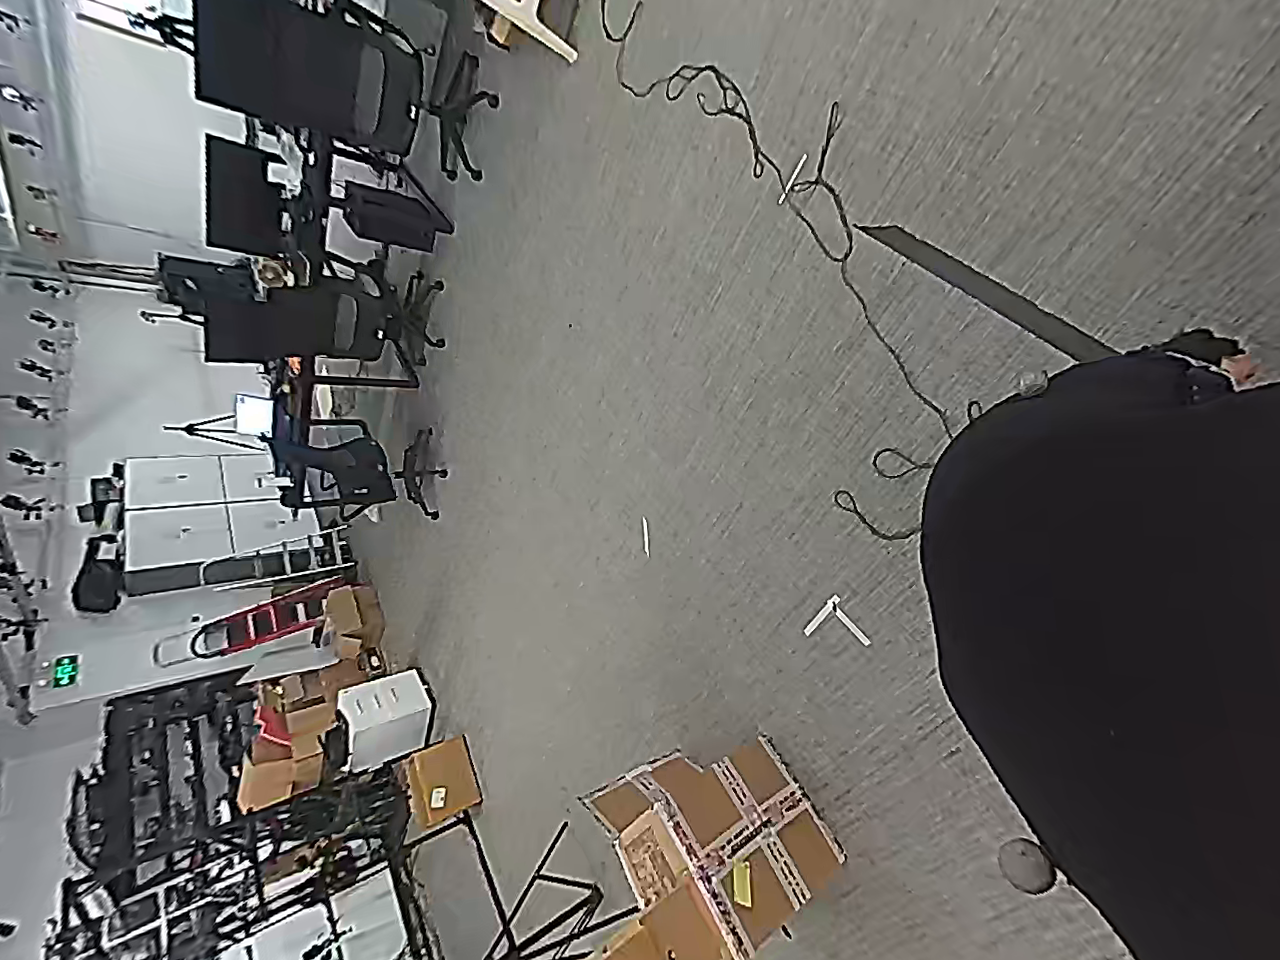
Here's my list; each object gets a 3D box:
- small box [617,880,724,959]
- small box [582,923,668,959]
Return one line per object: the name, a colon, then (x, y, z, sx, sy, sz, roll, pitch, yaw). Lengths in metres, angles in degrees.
small box: (0.078, 1.160, 1.357, 0.179, 0.176, 0.168, 55, 129, 31)
small box: (-0.032, 1.159, 1.236, 0.168, 0.176, 0.179, -52, 57, 35)
